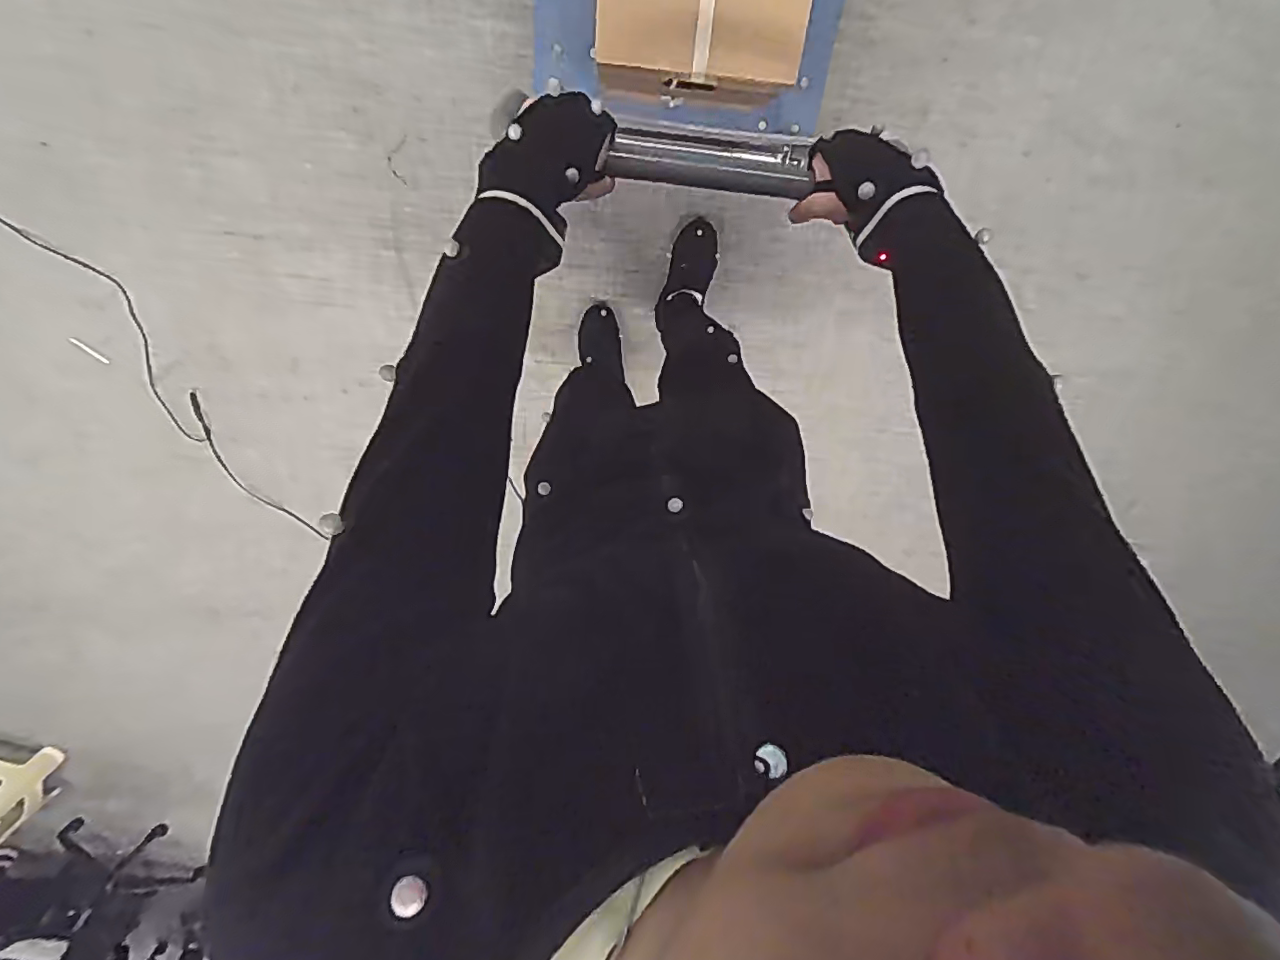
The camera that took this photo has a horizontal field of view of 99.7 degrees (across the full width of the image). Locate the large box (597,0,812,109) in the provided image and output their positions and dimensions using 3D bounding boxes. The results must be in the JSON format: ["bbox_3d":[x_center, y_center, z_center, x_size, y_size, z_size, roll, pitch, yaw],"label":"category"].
[{"bbox_3d":[0.102,-0.861,0.864,0.320,0.320,0.408,3,117,-3],"label":"large box"}]
